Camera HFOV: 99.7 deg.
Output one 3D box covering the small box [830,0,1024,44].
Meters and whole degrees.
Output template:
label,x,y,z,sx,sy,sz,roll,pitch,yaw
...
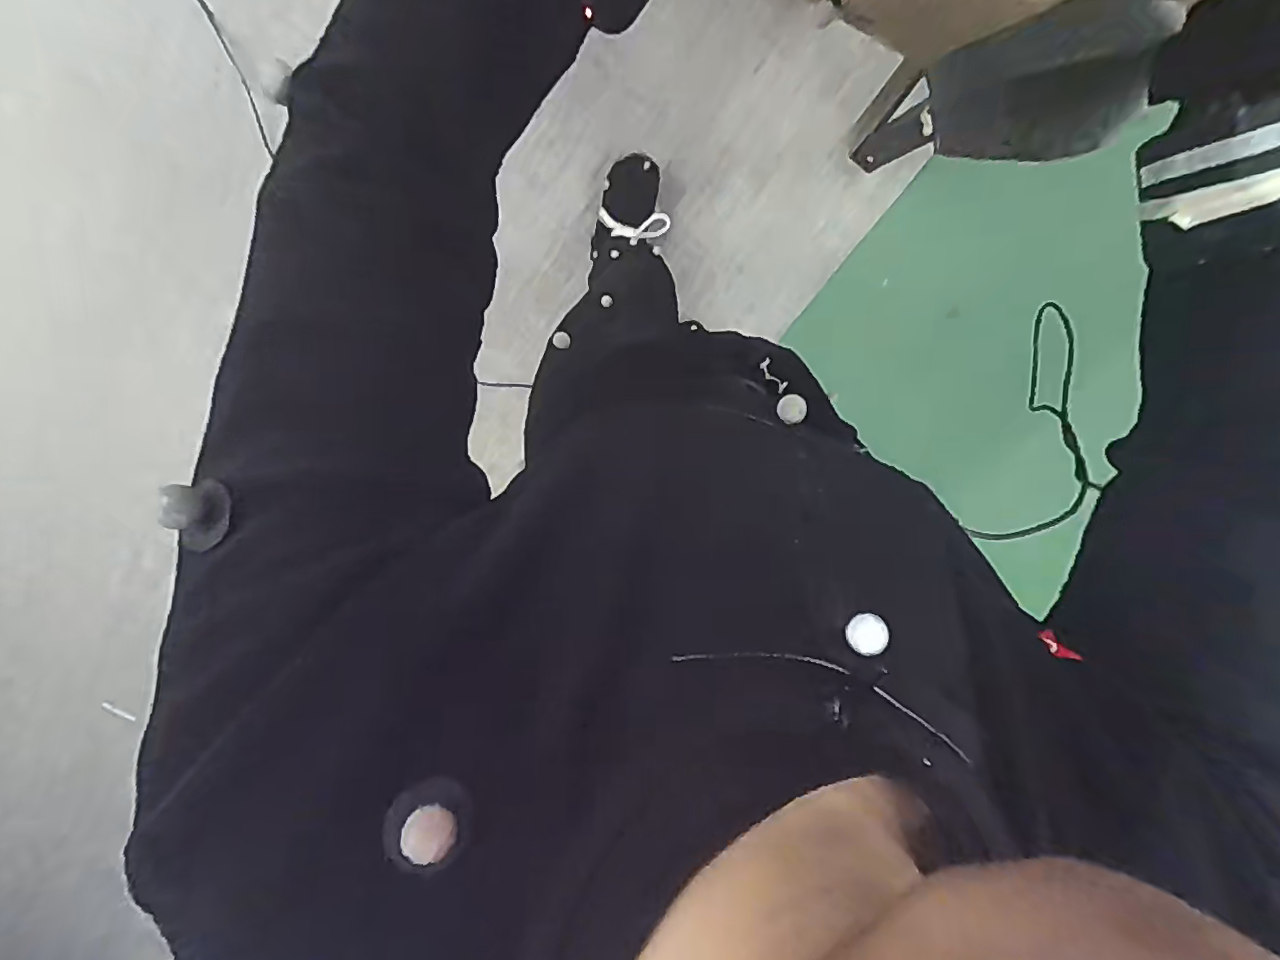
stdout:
label,x,y,z,sx,sy,sz,roll,pitch,yaw
small box,0.183,-0.404,0.314,0.168,0.176,0.179,20,118,-9
